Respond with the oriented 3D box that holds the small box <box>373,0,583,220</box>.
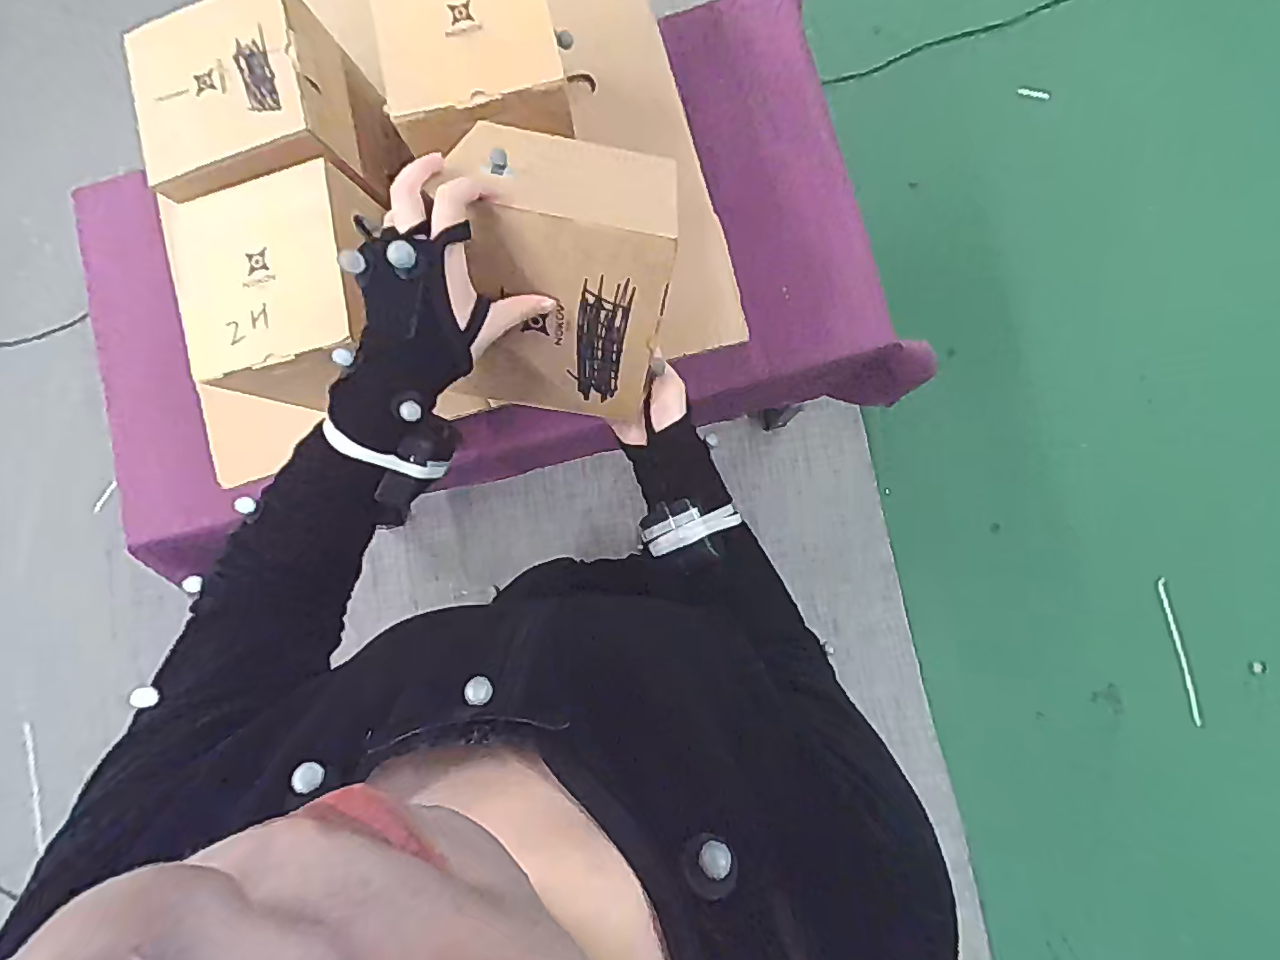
[{"bbox_3d":[-0.165,-0.425,0.592,0.168,0.176,0.179,-13,85,0],"label":"small box"}]
